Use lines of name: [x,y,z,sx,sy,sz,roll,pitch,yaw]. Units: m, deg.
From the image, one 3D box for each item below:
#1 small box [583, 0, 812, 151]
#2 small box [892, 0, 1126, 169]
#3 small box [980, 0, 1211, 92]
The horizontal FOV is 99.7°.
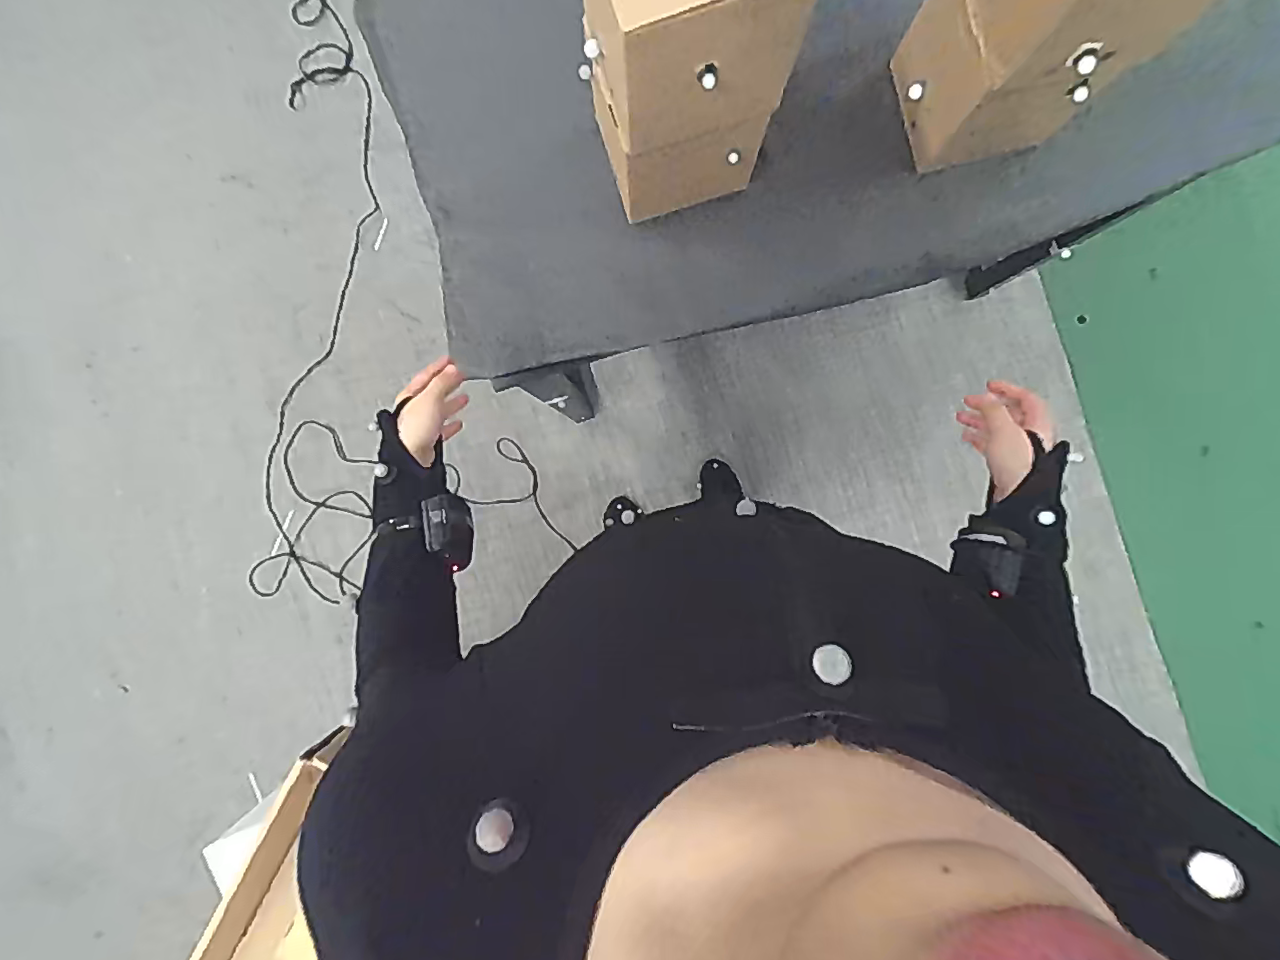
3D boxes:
small box: [0.041,-0.459,0.514,0.179,0.176,0.168,-17,90,2]
small box: [0.444,-0.523,0.663,0.179,0.176,0.168,-14,89,2]
small box: [0.439,-0.516,0.501,0.168,0.176,0.179,-12,91,4]
